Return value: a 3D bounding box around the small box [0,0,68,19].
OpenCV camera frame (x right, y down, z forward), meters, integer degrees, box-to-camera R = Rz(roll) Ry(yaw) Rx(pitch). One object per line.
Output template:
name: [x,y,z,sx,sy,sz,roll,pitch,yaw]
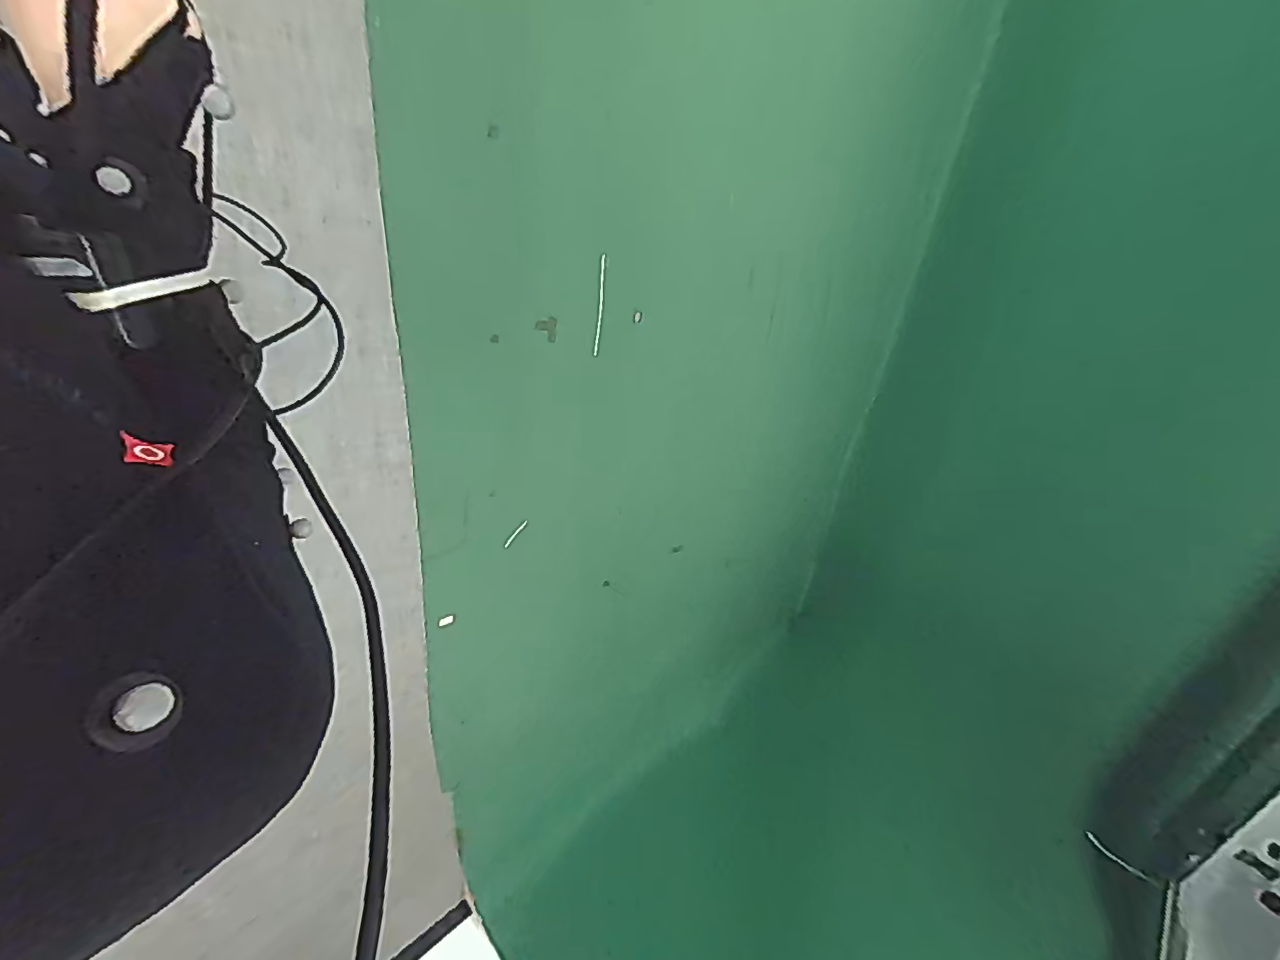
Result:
small box: [-0.335,-0.334,0.210,0.168,0.176,0.179,9,111,-56]
